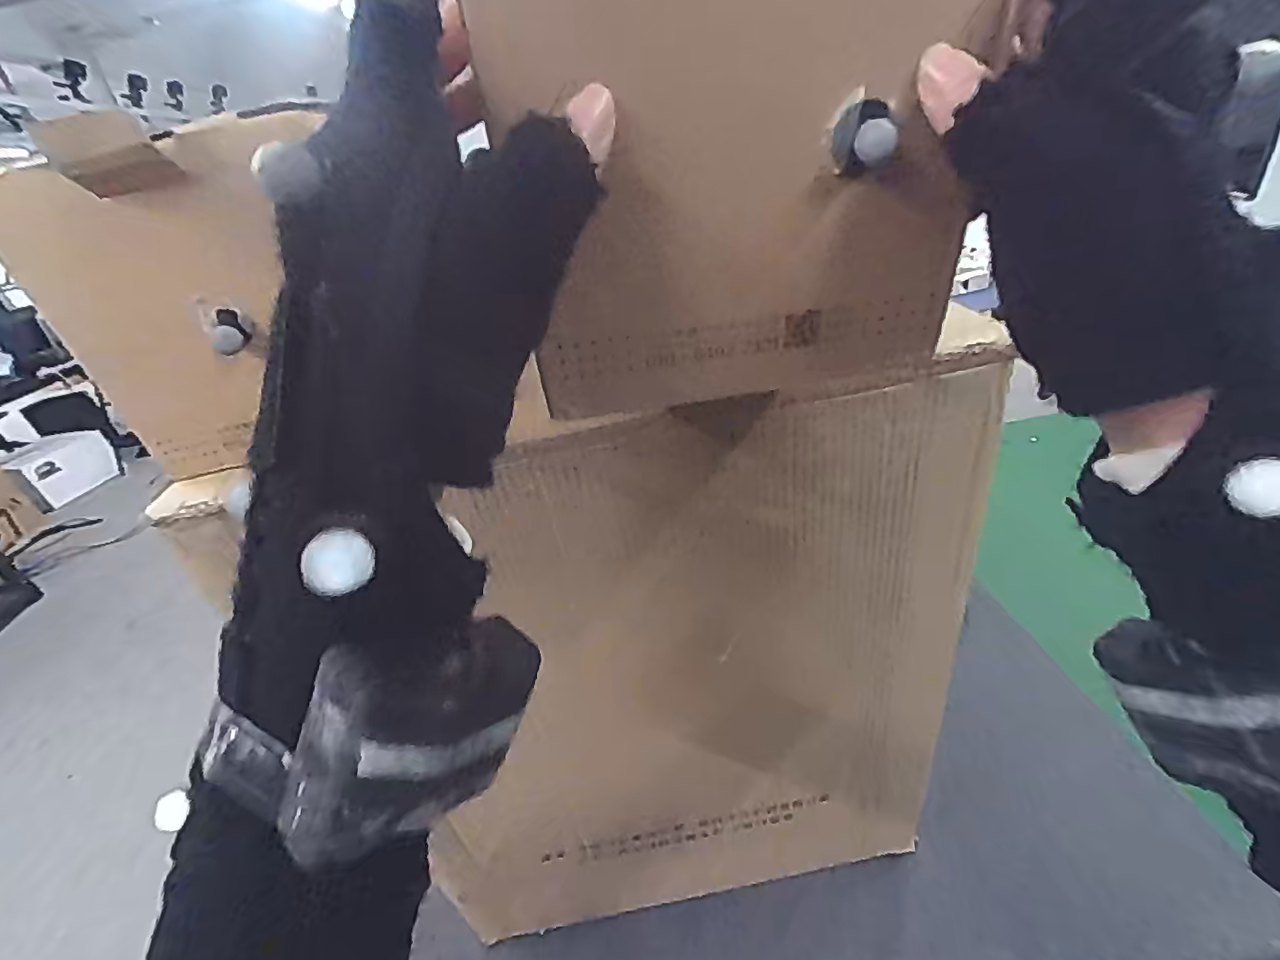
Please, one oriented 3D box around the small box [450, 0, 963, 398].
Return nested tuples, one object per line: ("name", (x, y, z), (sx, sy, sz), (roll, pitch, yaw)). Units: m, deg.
("small box", (0.023, -0.148, 0.259), (0.168, 0.176, 0.179), (-8, 36, -3))
